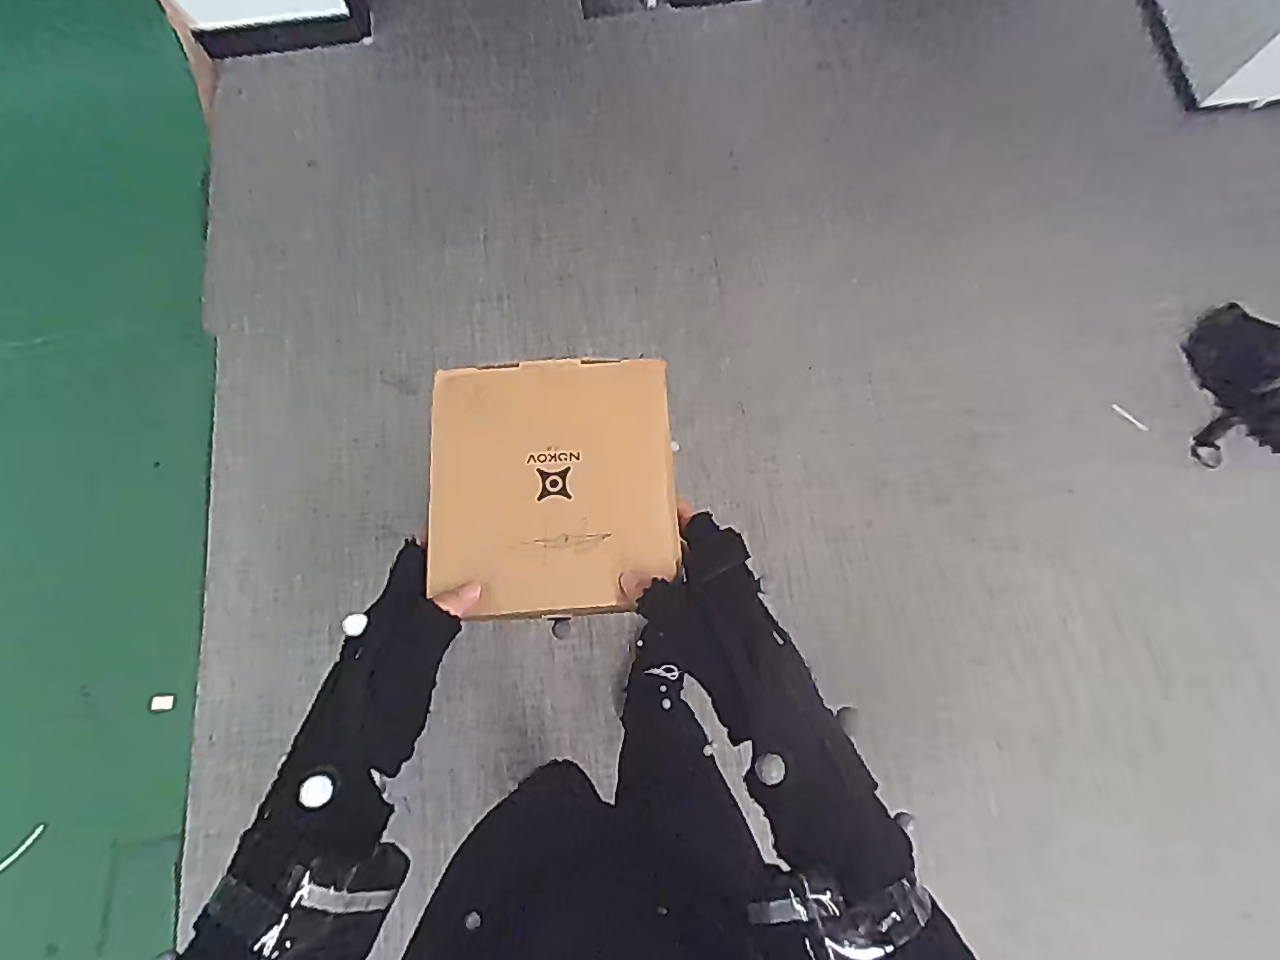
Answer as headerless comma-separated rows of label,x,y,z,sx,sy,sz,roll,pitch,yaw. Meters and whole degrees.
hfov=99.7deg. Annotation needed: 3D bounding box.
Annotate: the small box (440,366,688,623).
small box,-0.058,0.023,0.455,0.168,0.176,0.179,-4,75,-3
